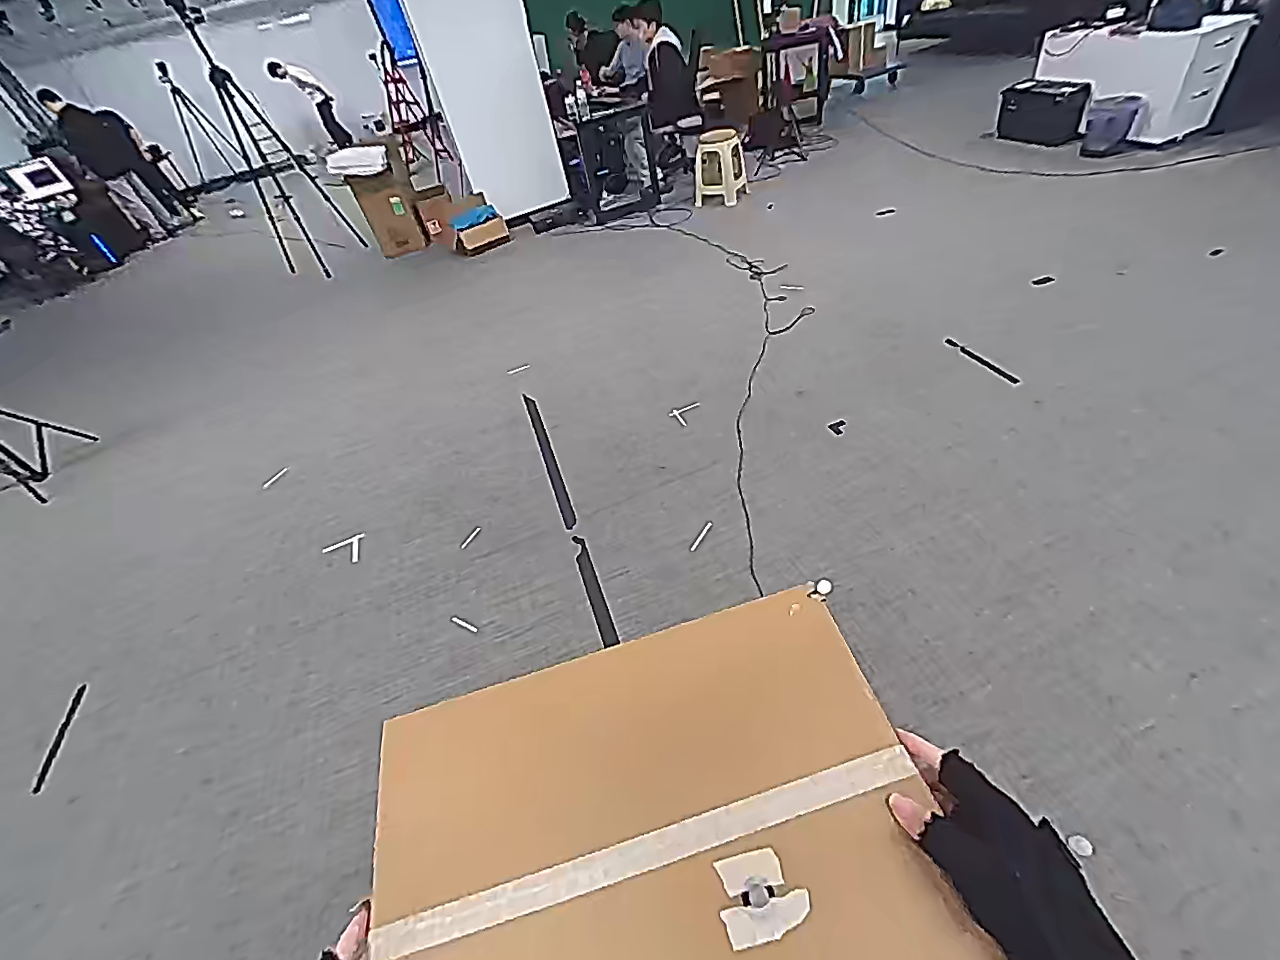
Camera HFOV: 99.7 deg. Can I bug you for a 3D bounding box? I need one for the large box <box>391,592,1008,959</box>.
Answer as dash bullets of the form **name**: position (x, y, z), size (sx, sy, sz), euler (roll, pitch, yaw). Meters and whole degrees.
- **large box**: position (0.031, 0.368, 0.515), size (0.408, 0.320, 0.320), euler (-17, 50, -3)
